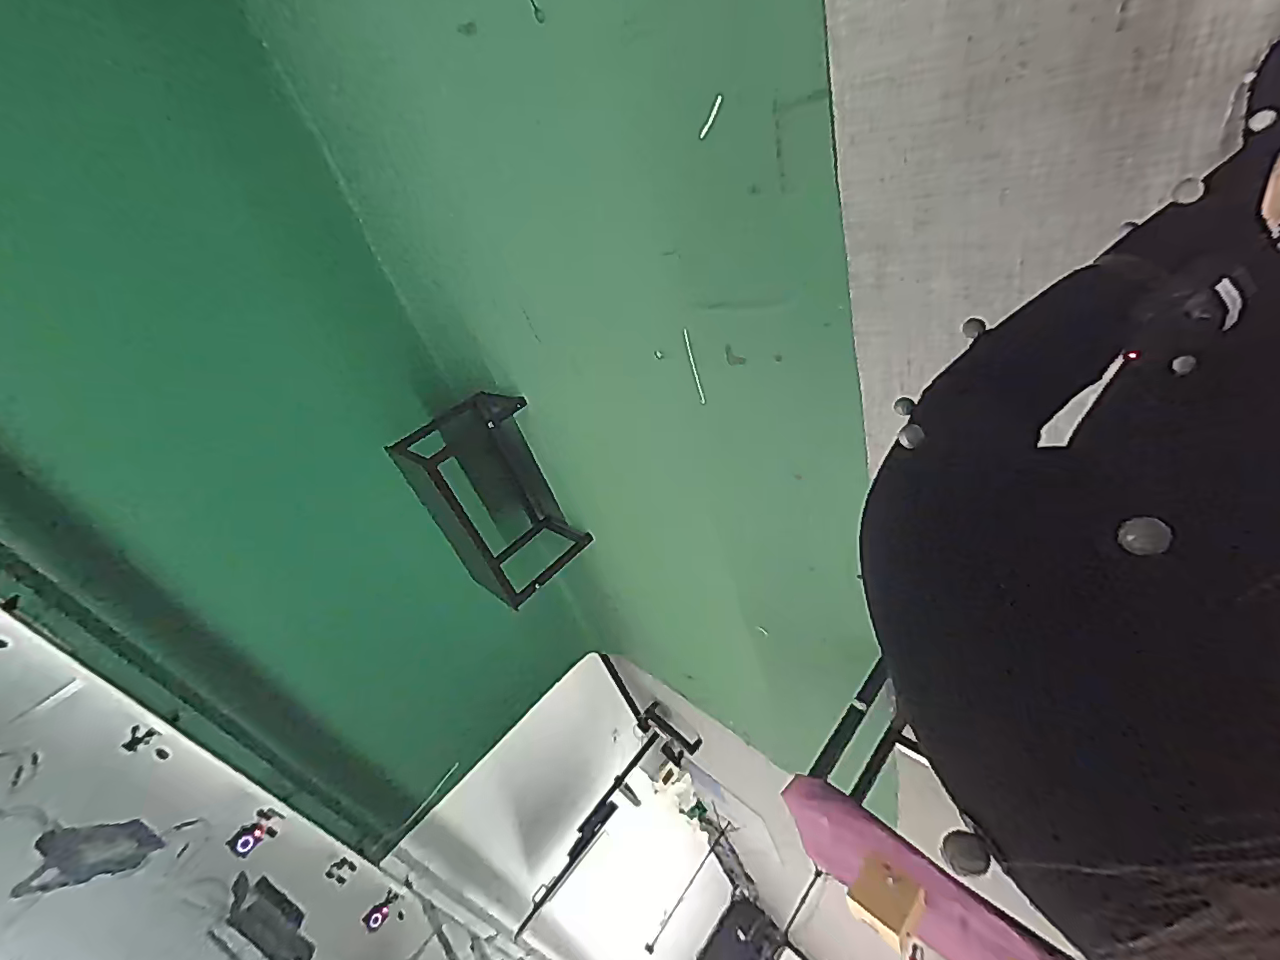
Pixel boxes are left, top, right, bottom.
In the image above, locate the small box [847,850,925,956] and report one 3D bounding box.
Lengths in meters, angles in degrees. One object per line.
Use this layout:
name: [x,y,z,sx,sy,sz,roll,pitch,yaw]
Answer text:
small box: [0.766,1.304,1.673,0.168,0.176,0.179,18,139,44]
